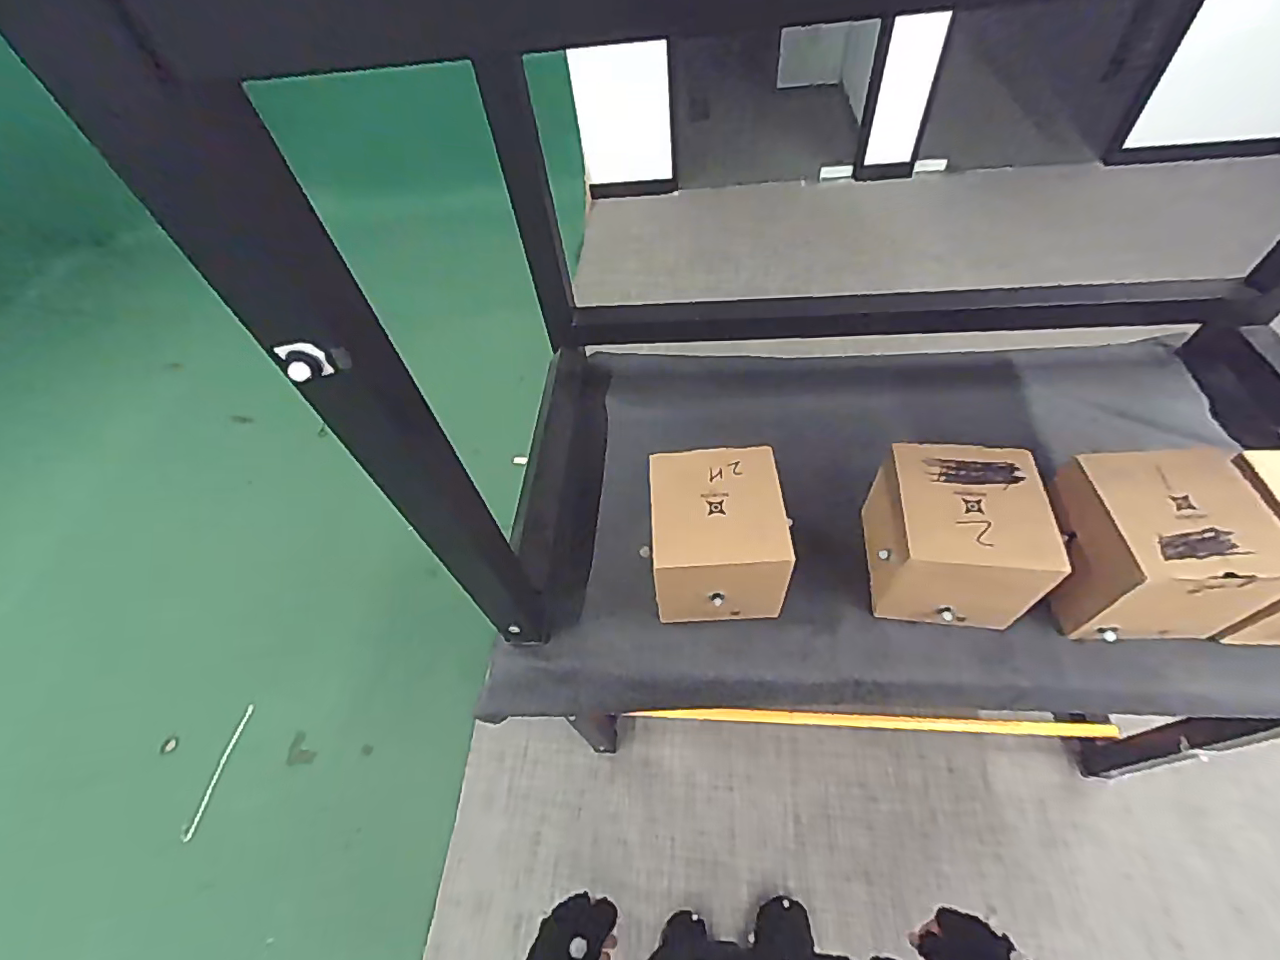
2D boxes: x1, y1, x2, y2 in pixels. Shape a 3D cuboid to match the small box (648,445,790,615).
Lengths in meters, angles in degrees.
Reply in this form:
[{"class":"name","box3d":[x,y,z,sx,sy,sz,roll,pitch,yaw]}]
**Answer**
[{"class":"small box","box3d":[0.101,0.076,0.738,0.168,0.176,0.179,-4,52,3]}]
